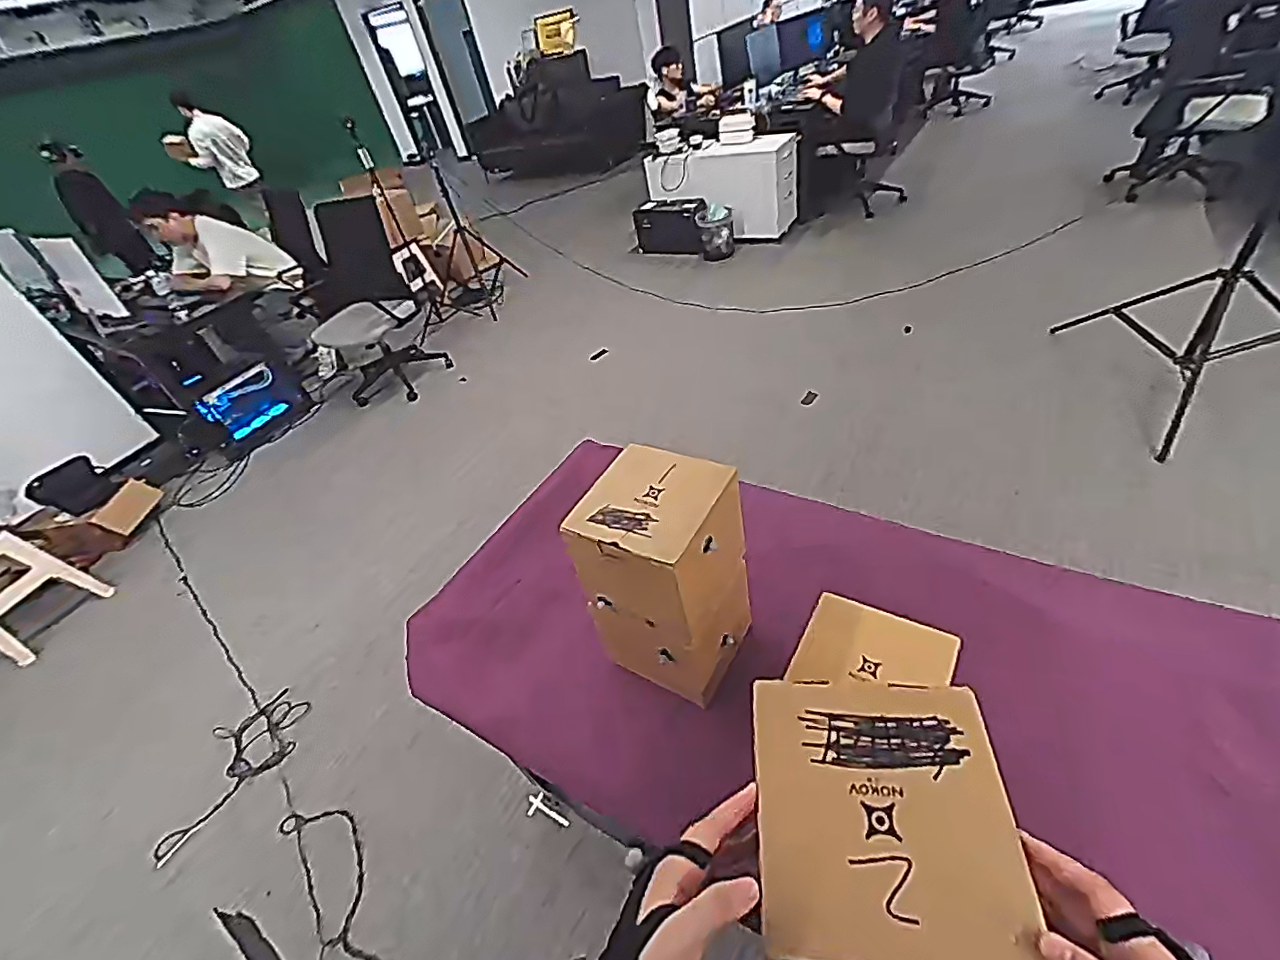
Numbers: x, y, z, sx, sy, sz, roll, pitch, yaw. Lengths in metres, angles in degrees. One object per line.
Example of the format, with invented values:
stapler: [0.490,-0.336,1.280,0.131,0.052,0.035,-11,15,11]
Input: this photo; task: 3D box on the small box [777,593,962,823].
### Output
small box: [0.281,0.282,0.680,0.168,0.176,0.179,16,49,31]

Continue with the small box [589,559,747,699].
small box: [0.054,0.206,0.829,0.179,0.176,0.168,16,49,31]

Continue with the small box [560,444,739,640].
small box: [0.026,0.082,0.725,0.168,0.176,0.179,15,49,29]
